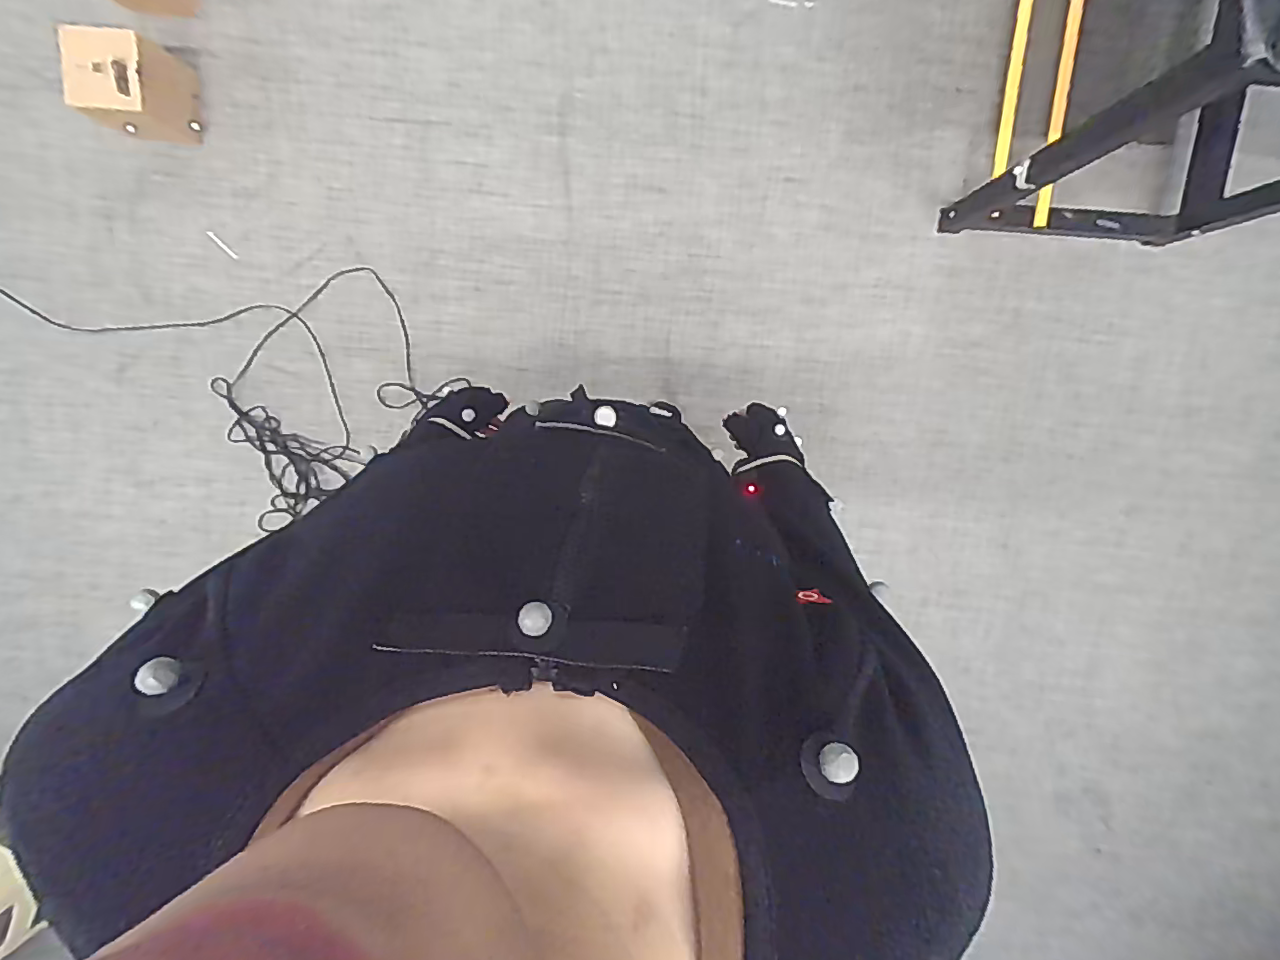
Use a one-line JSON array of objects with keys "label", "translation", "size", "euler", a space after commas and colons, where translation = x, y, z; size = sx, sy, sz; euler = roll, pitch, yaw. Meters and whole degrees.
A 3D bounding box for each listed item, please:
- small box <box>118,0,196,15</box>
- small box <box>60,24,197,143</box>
[{"label": "small box", "translation": [-1.162, -1.207, 1.227], "size": [0.179, 0.176, 0.168], "euler": [5, 99, -1]}, {"label": "small box", "translation": [-1.185, -0.920, 1.270], "size": [0.179, 0.176, 0.168], "euler": [5, 99, 1]}]
